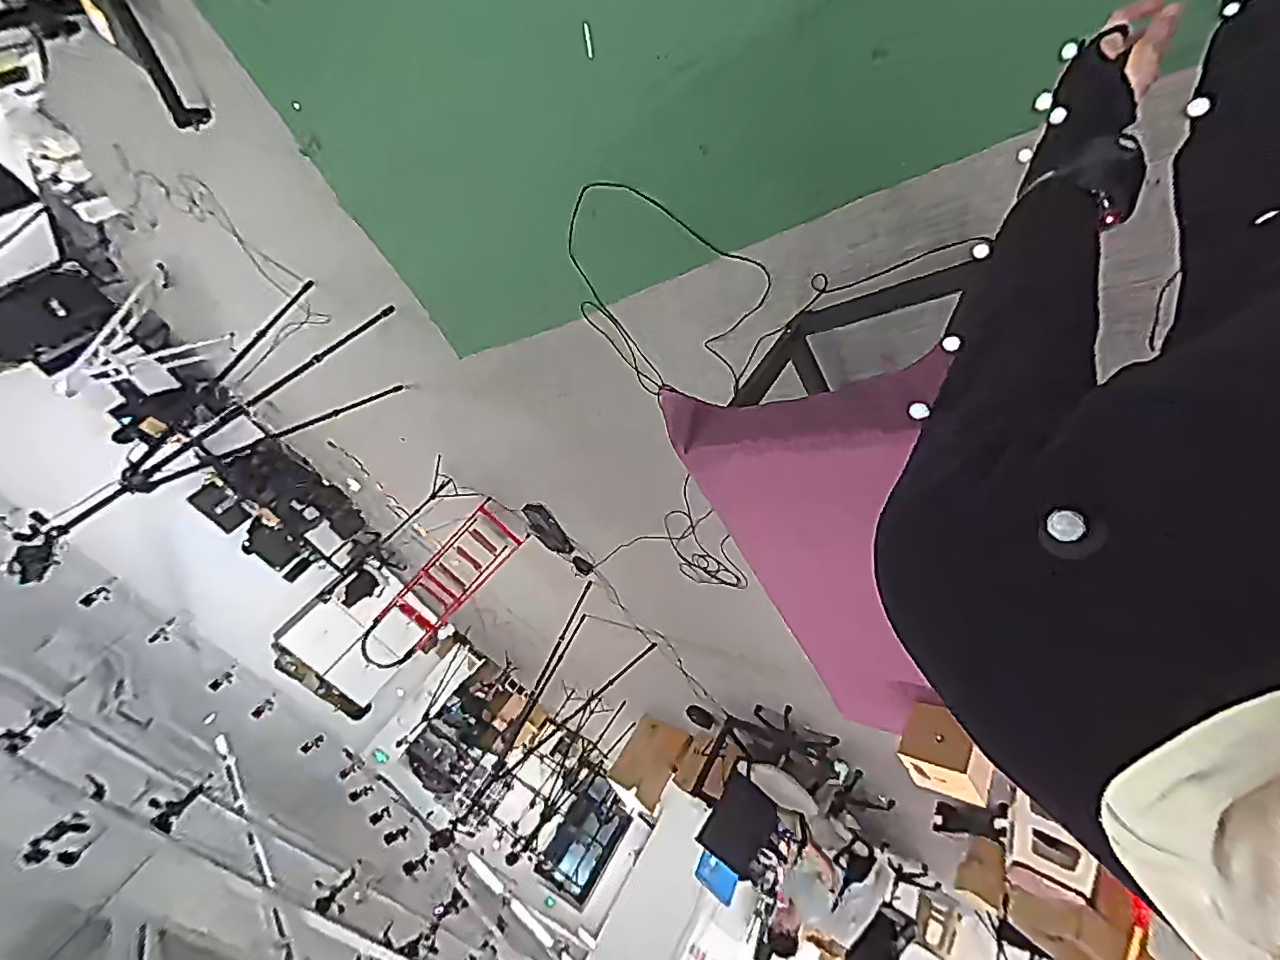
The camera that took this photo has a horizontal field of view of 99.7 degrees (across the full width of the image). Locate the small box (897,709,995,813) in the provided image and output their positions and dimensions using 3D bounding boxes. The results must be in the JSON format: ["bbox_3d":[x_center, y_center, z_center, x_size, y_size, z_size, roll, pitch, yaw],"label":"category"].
[{"bbox_3d":[0.829,0.749,1.461,0.179,0.176,0.168,-7,127,47],"label":"small box"}]
